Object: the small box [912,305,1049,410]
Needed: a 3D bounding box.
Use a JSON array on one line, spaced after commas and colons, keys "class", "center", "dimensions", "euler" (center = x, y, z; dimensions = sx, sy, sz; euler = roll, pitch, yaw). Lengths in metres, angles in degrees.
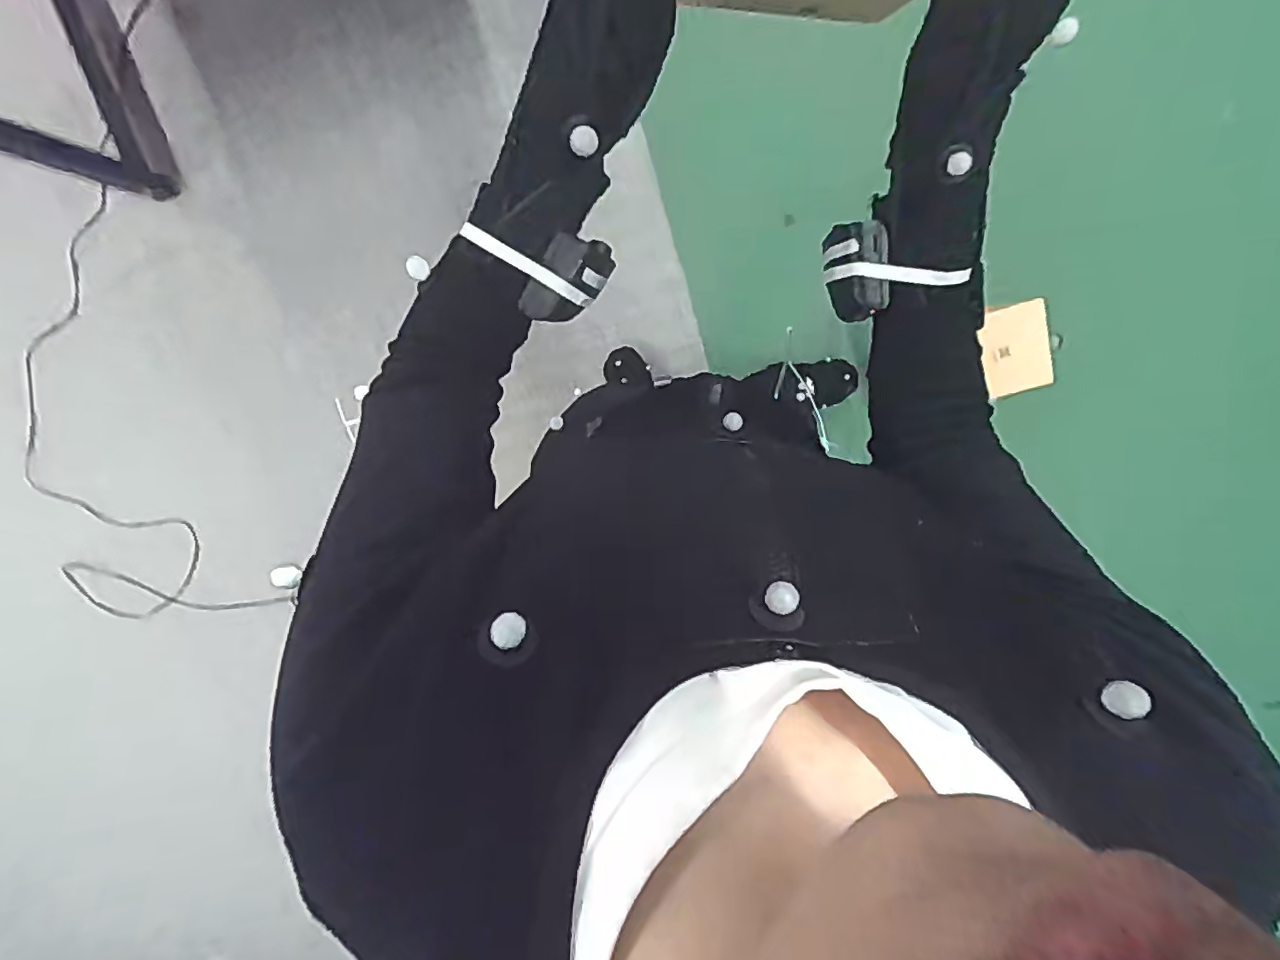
[{"class": "small box", "center": [0.700, -0.255, 1.125], "dimensions": [0.179, 0.176, 0.168], "euler": [-15, 102, 7]}]
